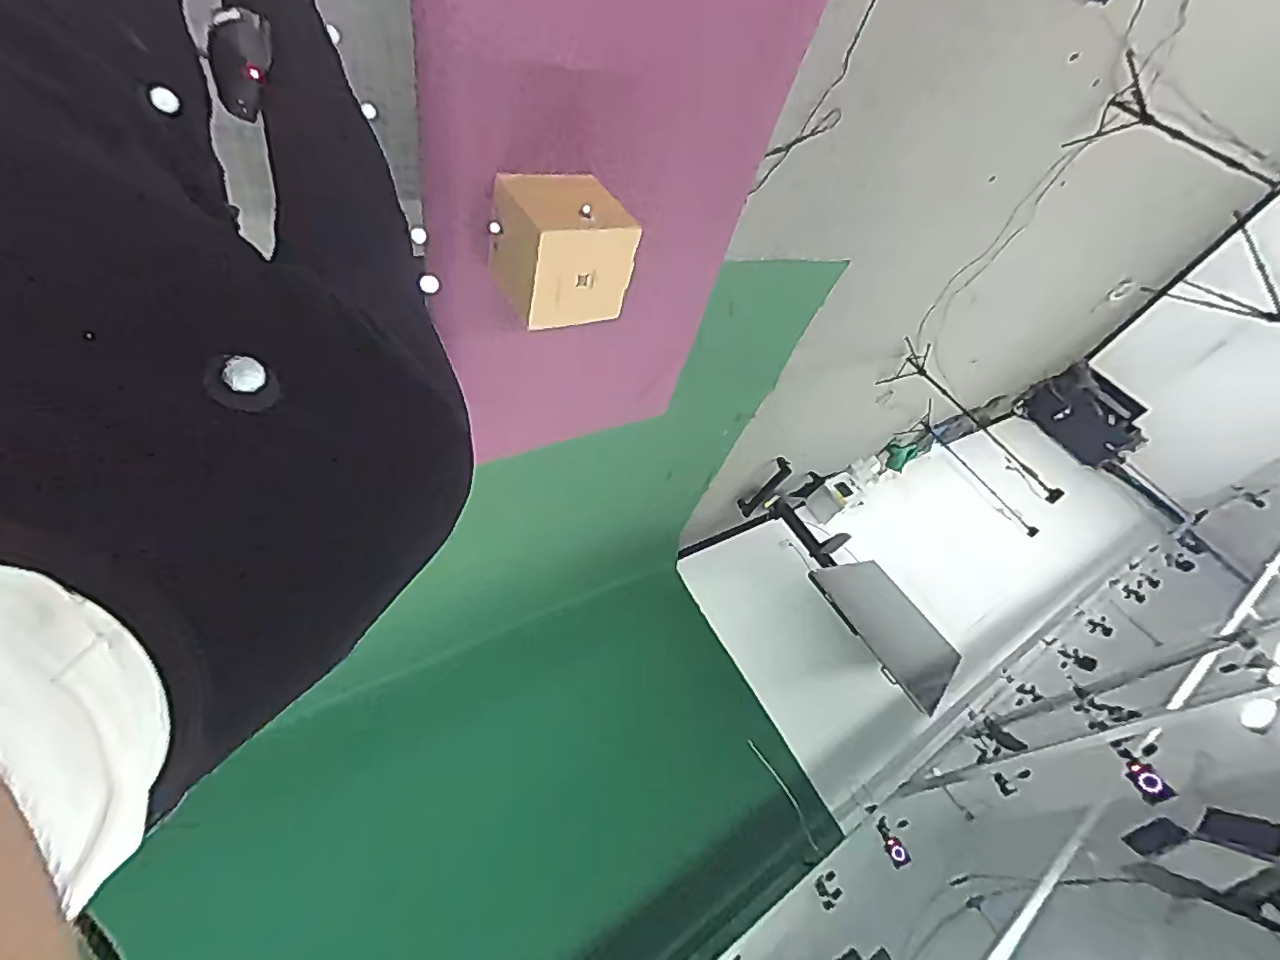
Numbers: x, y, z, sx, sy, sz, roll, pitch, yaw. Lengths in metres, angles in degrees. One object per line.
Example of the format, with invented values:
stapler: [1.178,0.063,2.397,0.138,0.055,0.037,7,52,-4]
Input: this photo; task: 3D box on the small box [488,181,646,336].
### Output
small box: [-0.123,-0.358,0.868,0.179,0.176,0.168,-18,149,-31]
